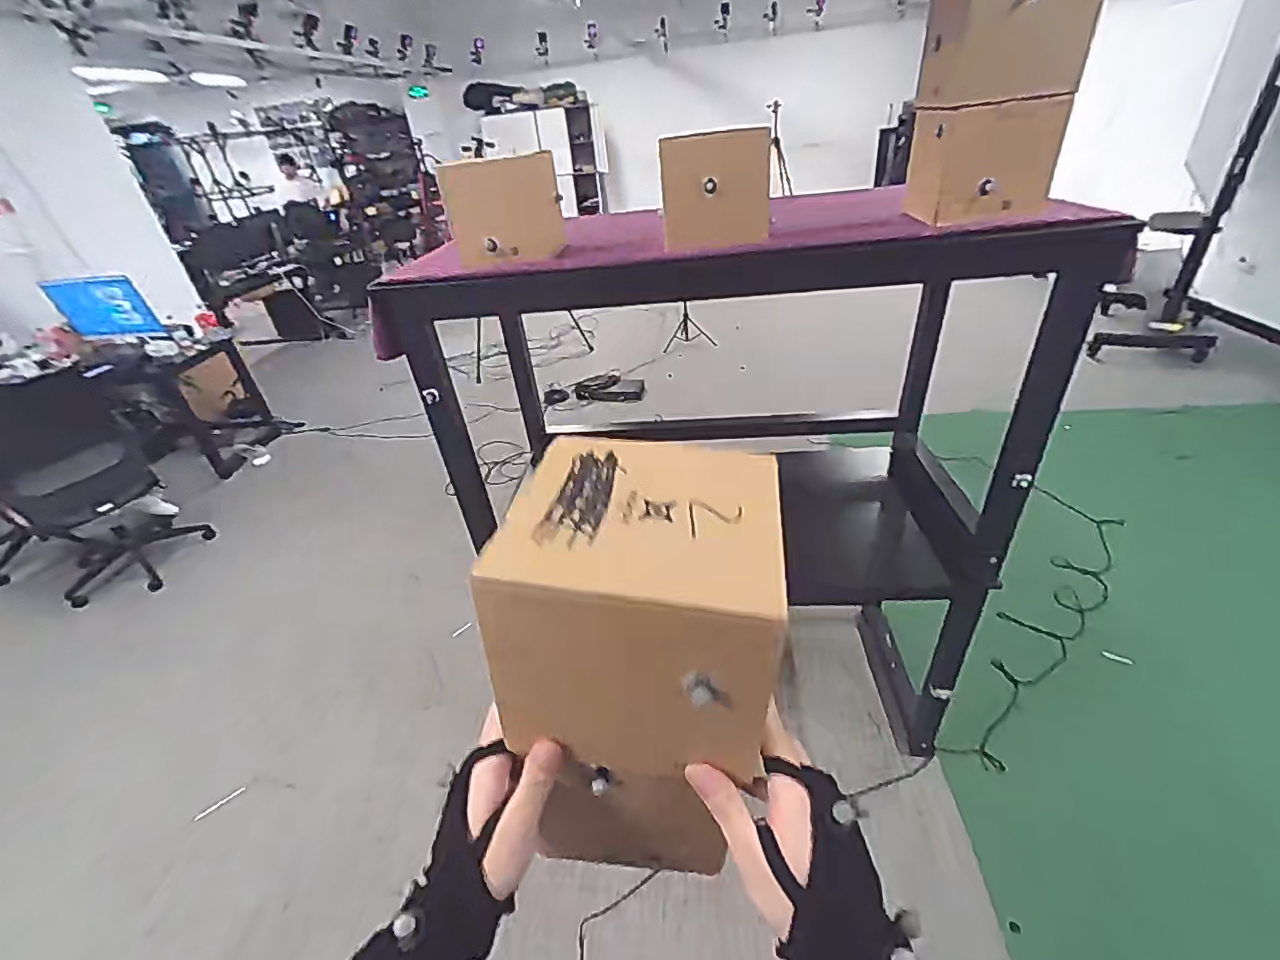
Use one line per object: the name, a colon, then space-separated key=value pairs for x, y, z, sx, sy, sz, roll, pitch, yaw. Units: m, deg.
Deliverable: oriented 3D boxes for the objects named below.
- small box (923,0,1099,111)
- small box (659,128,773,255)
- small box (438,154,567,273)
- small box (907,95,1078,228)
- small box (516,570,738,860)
small box: x=0.536 y=-0.655 z=0.797 sx=0.179 sy=0.176 sz=0.168 roll=-2 pitch=35 yaw=8
small box: x=0.133 y=-0.502 z=0.940 sx=0.179 sy=0.176 sz=0.168 roll=-2 pitch=32 yaw=9
small box: x=-0.234 y=-0.480 z=0.976 sx=0.168 sy=0.176 sz=0.179 roll=-3 pitch=33 yaw=6
small box: x=0.561 y=-0.524 z=0.895 sx=0.168 sy=0.176 sz=0.179 roll=-2 pitch=35 yaw=8
small box: x=-0.003 y=0.207 z=0.498 sx=0.168 sy=0.176 sz=0.179 roll=2 pitch=32 yaw=5
